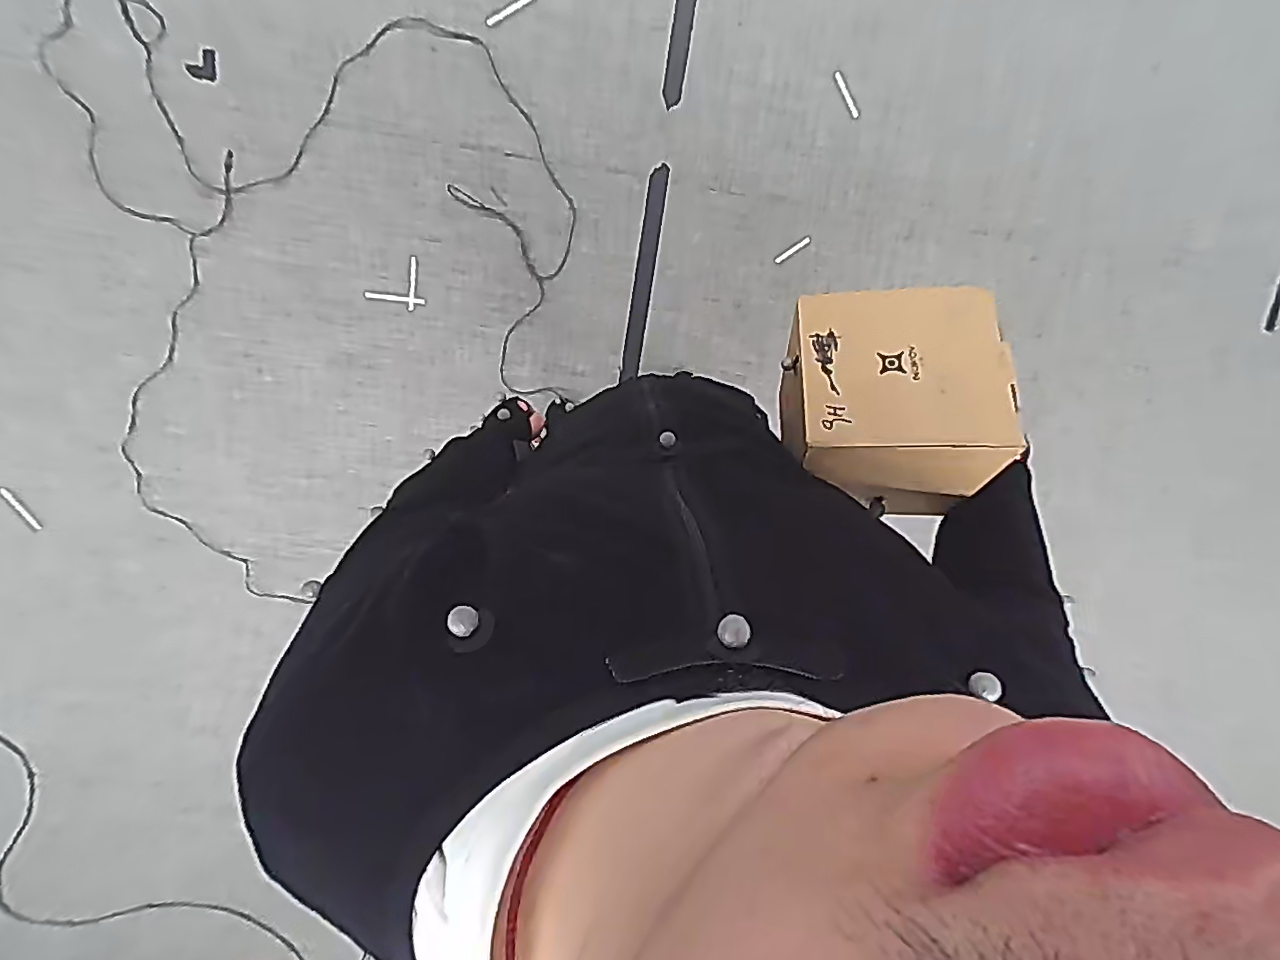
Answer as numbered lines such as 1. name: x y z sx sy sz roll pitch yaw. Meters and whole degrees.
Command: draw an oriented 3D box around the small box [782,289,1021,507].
1. small box: 0.250 -0.077 0.568 0.179 0.176 0.168 1 67 8
